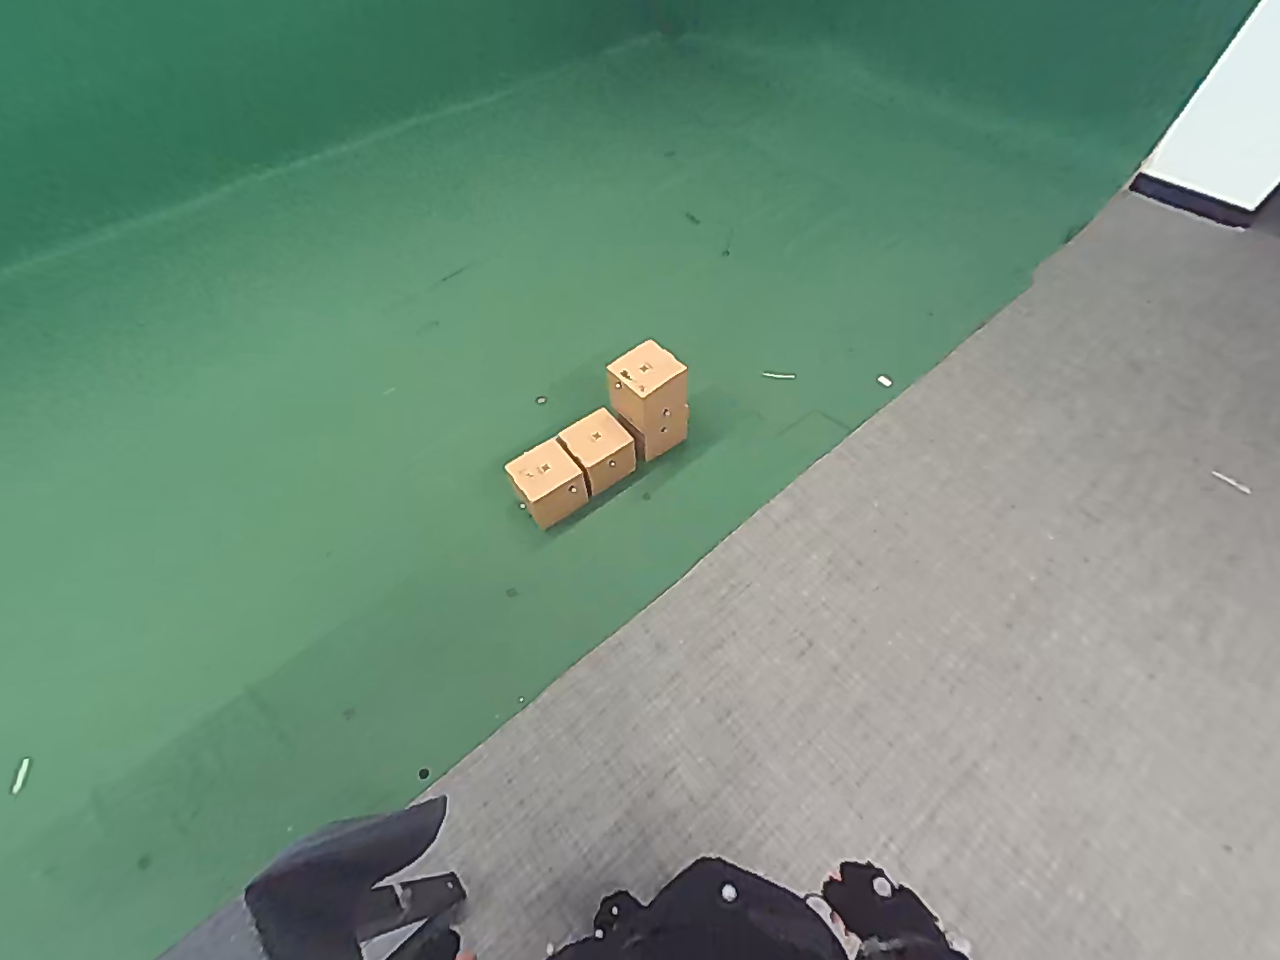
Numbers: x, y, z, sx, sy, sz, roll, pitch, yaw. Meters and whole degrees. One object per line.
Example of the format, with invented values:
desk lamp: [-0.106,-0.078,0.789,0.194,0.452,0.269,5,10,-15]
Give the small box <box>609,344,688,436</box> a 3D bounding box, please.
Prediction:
small box: [0.023,-0.270,1.634,0.179,0.176,0.168,-35,62,-20]
